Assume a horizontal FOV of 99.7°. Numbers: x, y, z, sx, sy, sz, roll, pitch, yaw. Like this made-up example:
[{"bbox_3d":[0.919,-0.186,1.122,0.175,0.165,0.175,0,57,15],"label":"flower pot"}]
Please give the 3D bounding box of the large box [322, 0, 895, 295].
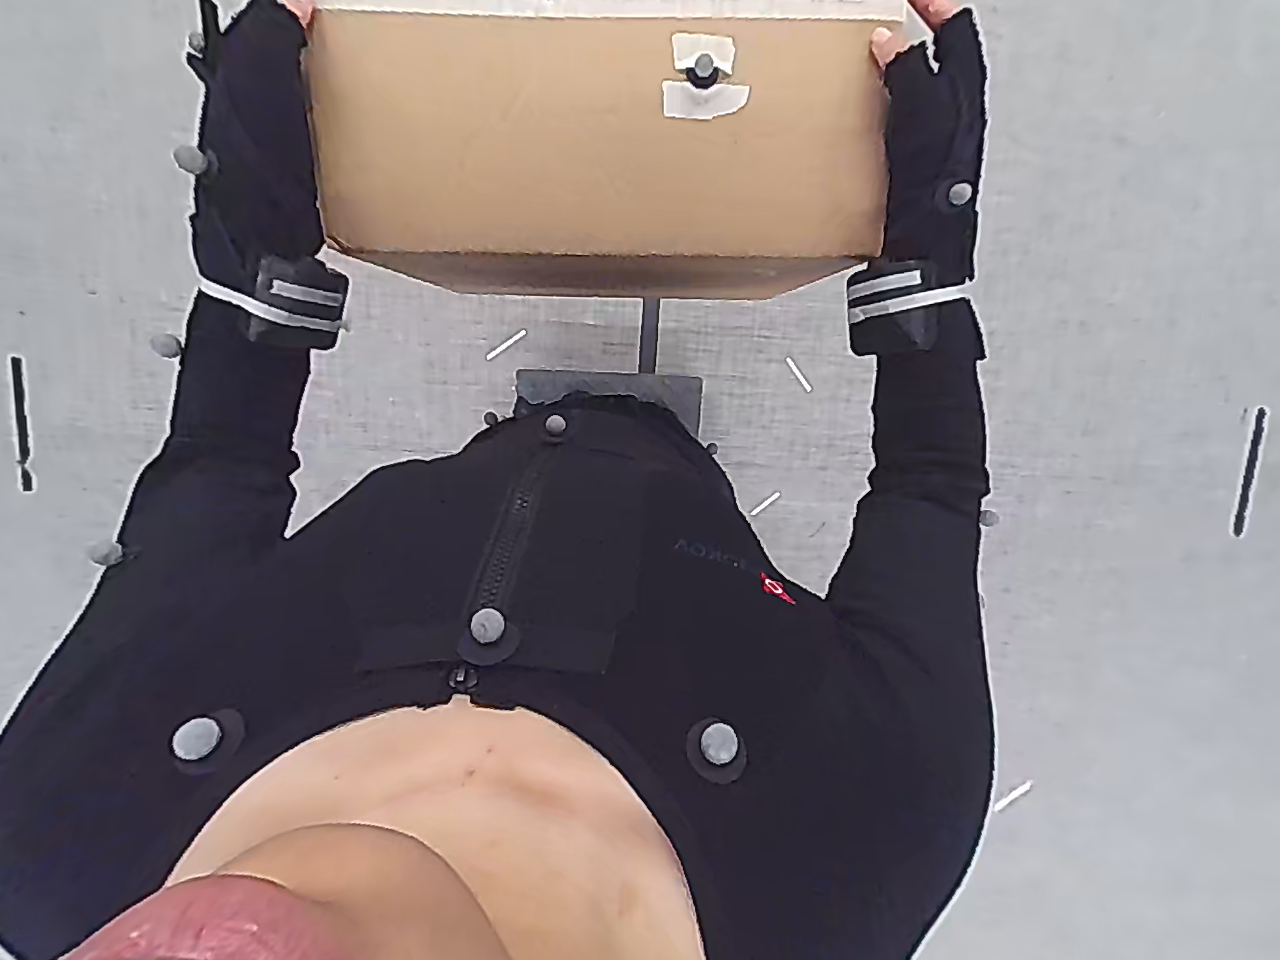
[{"bbox_3d":[-0.026,-0.359,0.519,0.408,0.320,0.320,0,104,-2],"label":"large box"}]
